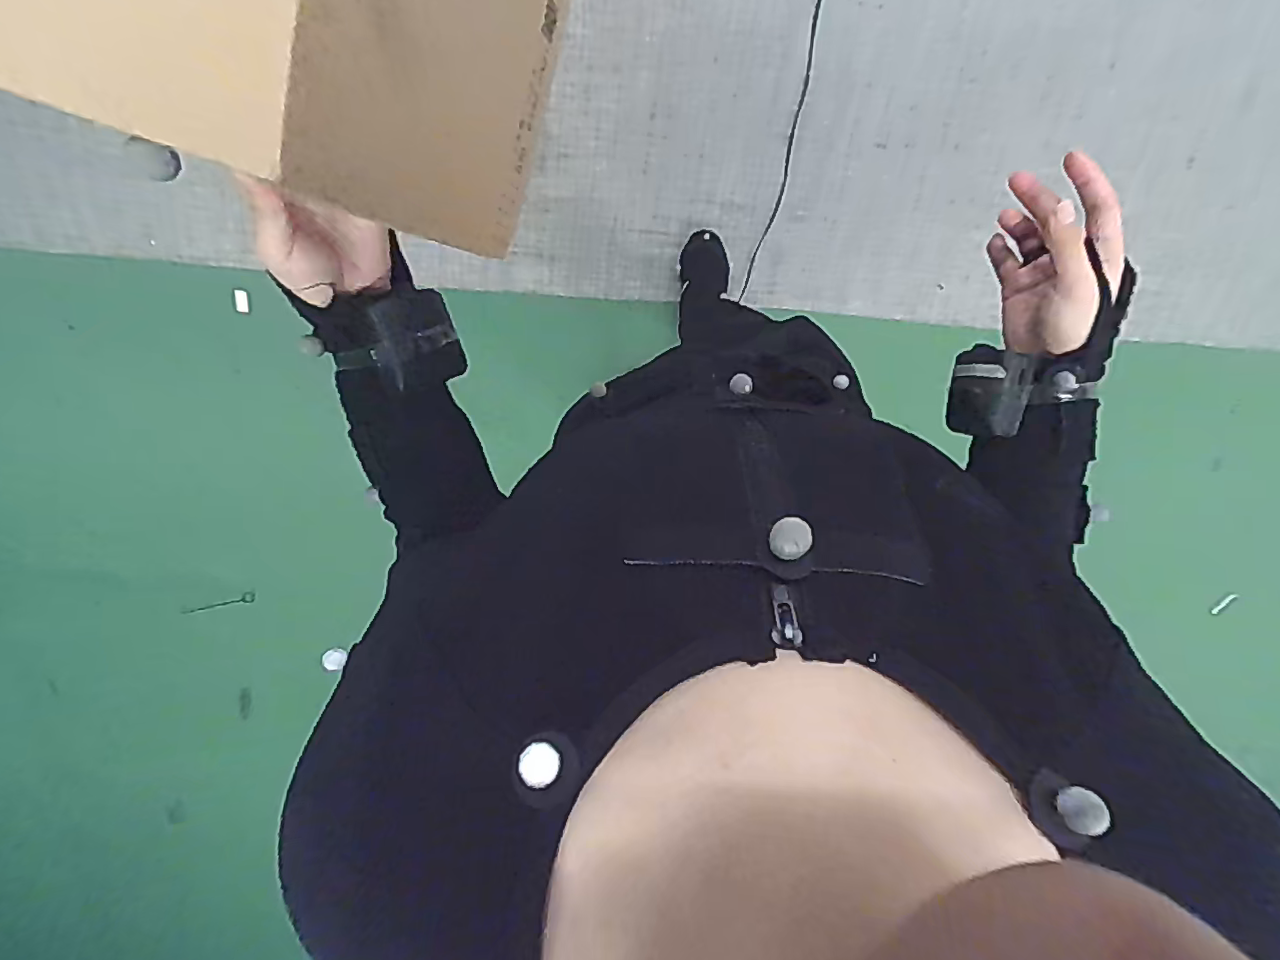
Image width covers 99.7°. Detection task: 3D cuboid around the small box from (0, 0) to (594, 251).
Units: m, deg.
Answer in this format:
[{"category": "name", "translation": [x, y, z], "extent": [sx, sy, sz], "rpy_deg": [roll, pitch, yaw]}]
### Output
[{"category": "small box", "translation": [-0.129, -0.197, 0.198], "extent": [0.179, 0.176, 0.168], "rpy_deg": [19, 108, 1]}]
